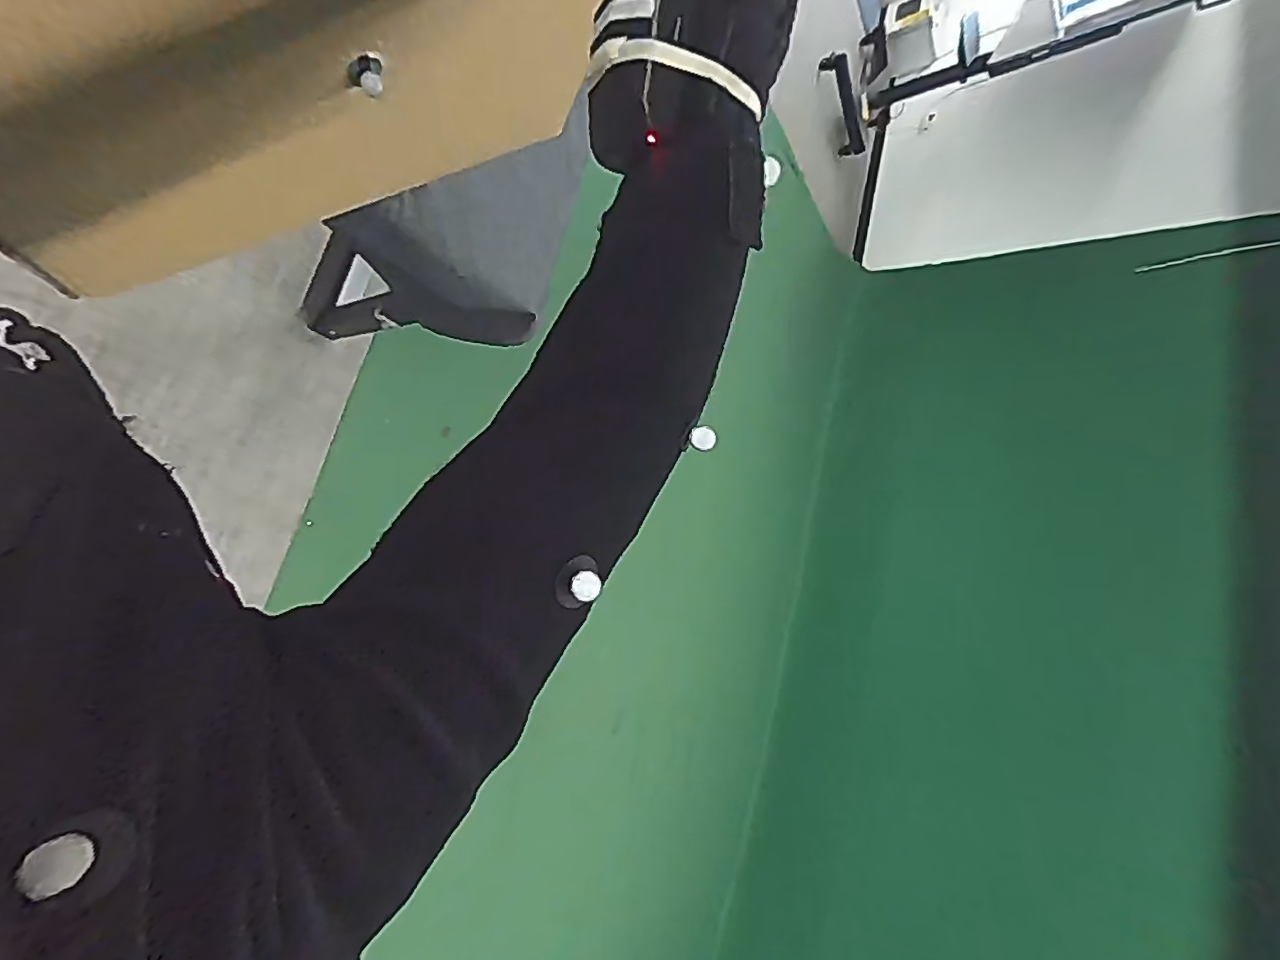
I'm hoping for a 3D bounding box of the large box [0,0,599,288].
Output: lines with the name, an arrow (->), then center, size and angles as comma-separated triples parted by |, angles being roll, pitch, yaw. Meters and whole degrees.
large box -> -0.243, -0.376, 0.292 | 0.408, 0.320, 0.320 | -38, 100, -23
